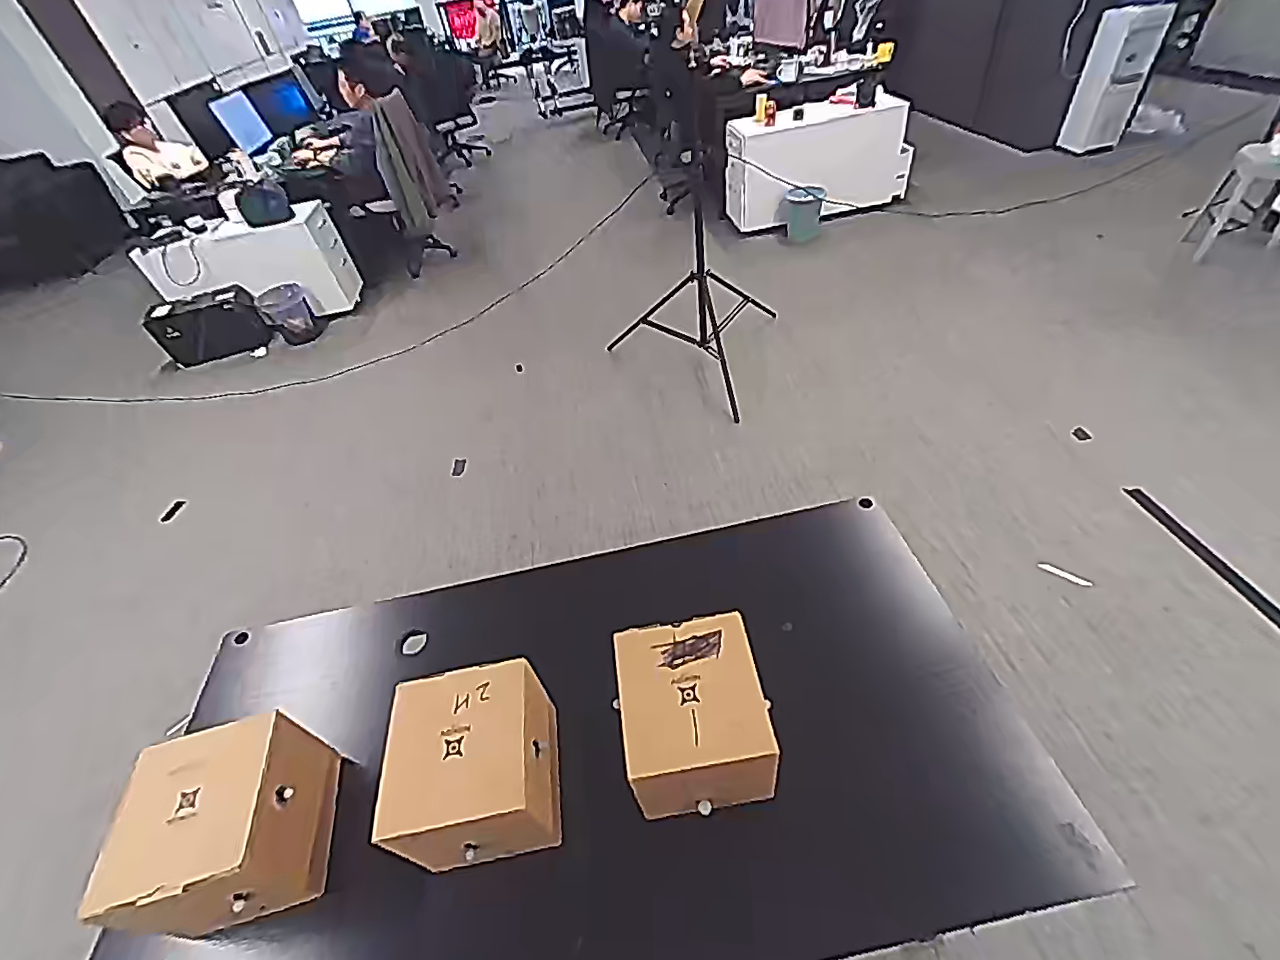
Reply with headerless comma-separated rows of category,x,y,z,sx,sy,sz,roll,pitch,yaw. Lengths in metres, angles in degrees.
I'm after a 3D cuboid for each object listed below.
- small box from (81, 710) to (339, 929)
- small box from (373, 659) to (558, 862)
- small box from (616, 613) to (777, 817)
small box,-0.503,0.424,0.671,0.168,0.176,0.179,-15,44,-6
small box,-0.202,0.357,0.680,0.168,0.176,0.179,-11,45,-1
small box,0.066,0.299,0.689,0.168,0.176,0.179,-10,45,1
